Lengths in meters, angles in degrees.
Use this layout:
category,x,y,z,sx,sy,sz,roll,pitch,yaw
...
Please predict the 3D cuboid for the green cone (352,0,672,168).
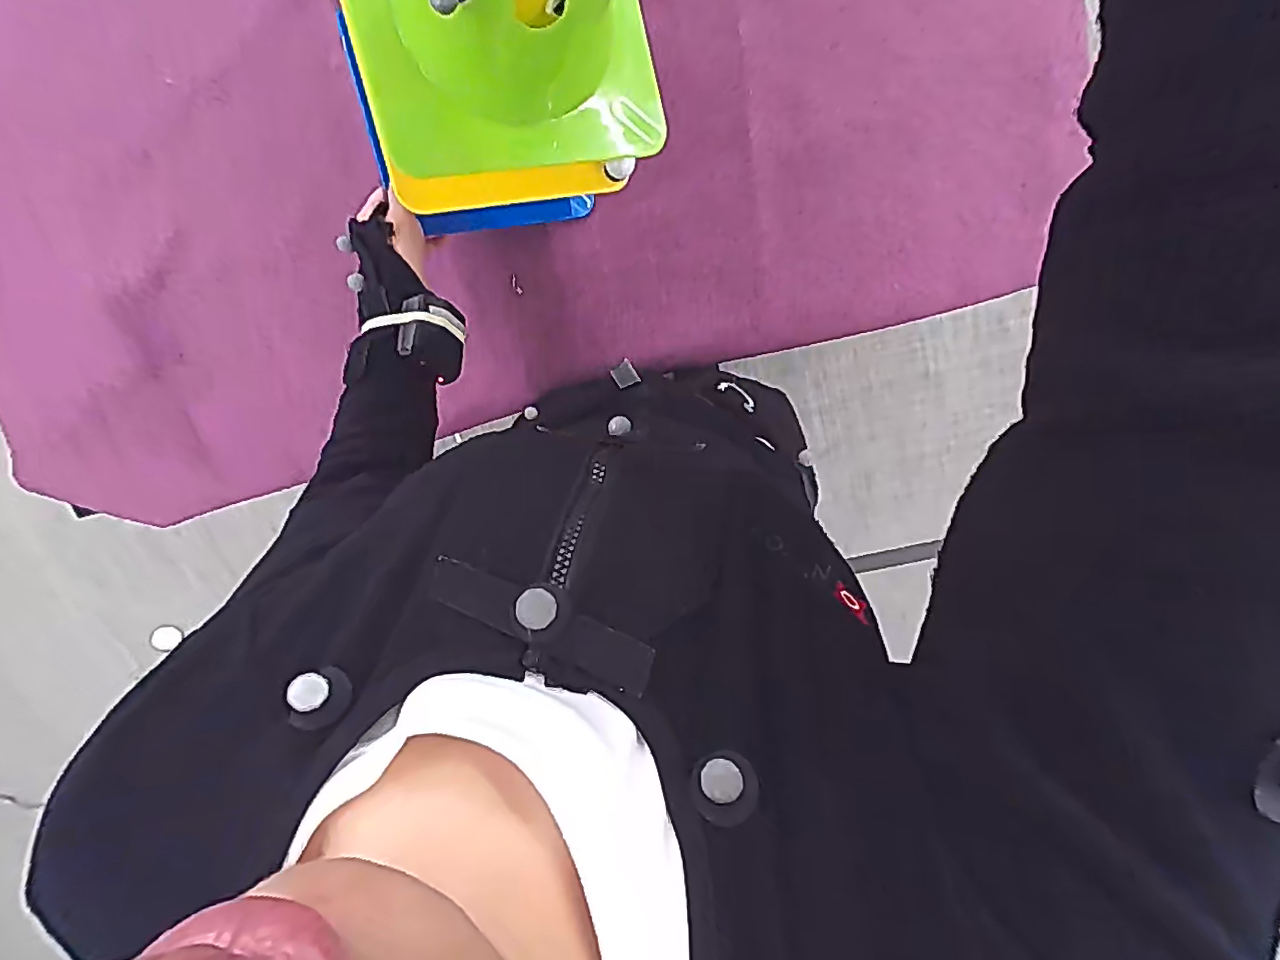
category,x,y,z,sx,sy,sz,roll,pitch,yaw
green cone,-0.040,-0.312,0.197,0.200,0.368,0.202,-15,97,-14
